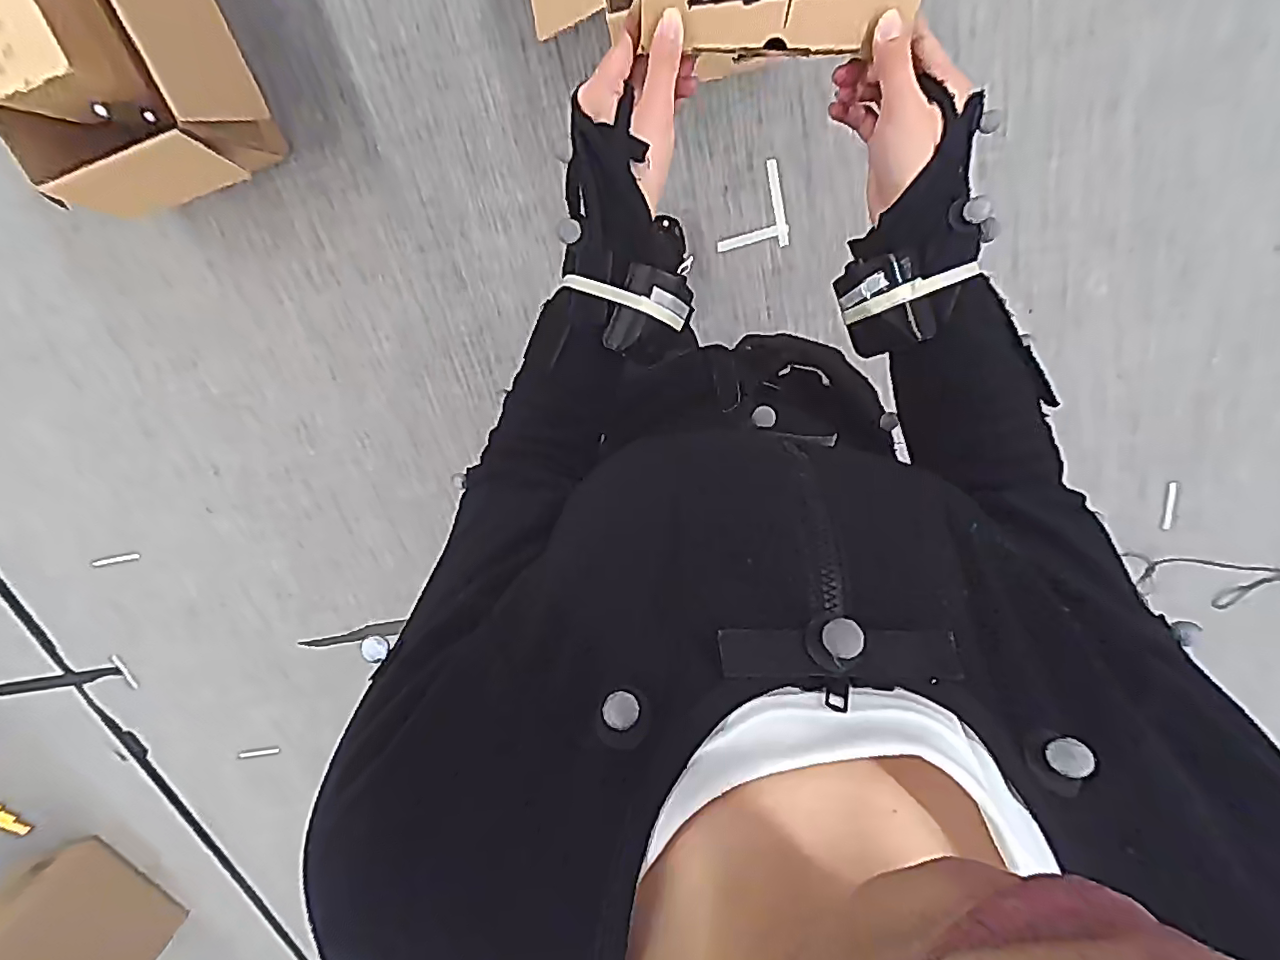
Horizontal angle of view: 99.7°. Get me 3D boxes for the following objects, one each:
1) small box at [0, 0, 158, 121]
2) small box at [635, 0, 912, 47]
[{"bbox_3d":[-0.973,-0.729,0.891,0.168,0.176,0.179,-13,112,8],"label":"small box"},{"bbox_3d":[0.084,-0.387,0.341,0.168,0.176,0.179,1,127,1],"label":"small box"}]
